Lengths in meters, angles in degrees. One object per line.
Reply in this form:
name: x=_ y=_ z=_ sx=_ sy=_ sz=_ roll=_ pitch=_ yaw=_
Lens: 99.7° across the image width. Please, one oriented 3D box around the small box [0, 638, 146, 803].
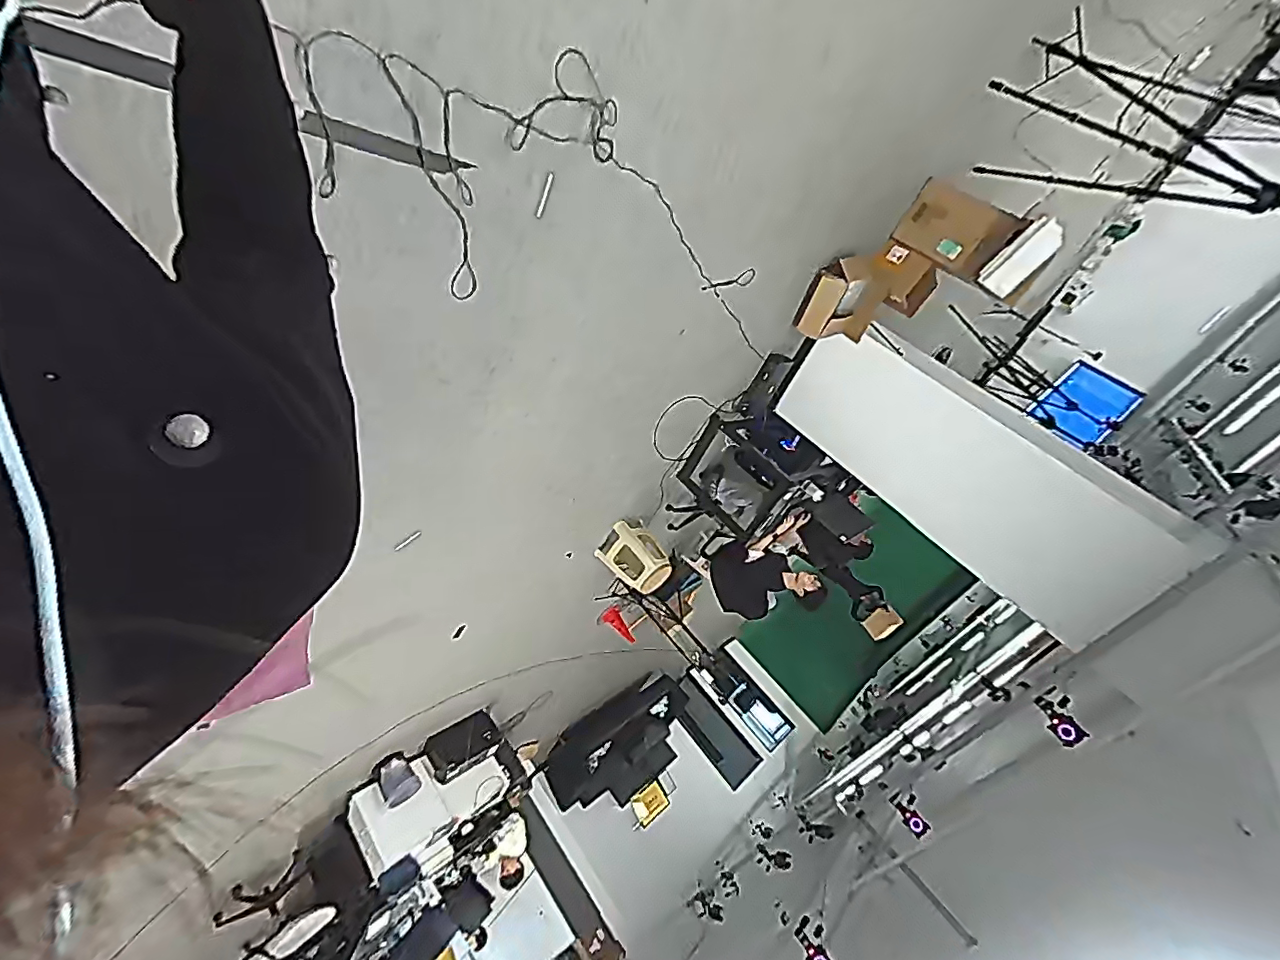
small box: x=-0.980 y=0.395 z=0.924 sx=0.168 sy=0.176 sz=0.179 roll=-14 pitch=141 yaw=-46
